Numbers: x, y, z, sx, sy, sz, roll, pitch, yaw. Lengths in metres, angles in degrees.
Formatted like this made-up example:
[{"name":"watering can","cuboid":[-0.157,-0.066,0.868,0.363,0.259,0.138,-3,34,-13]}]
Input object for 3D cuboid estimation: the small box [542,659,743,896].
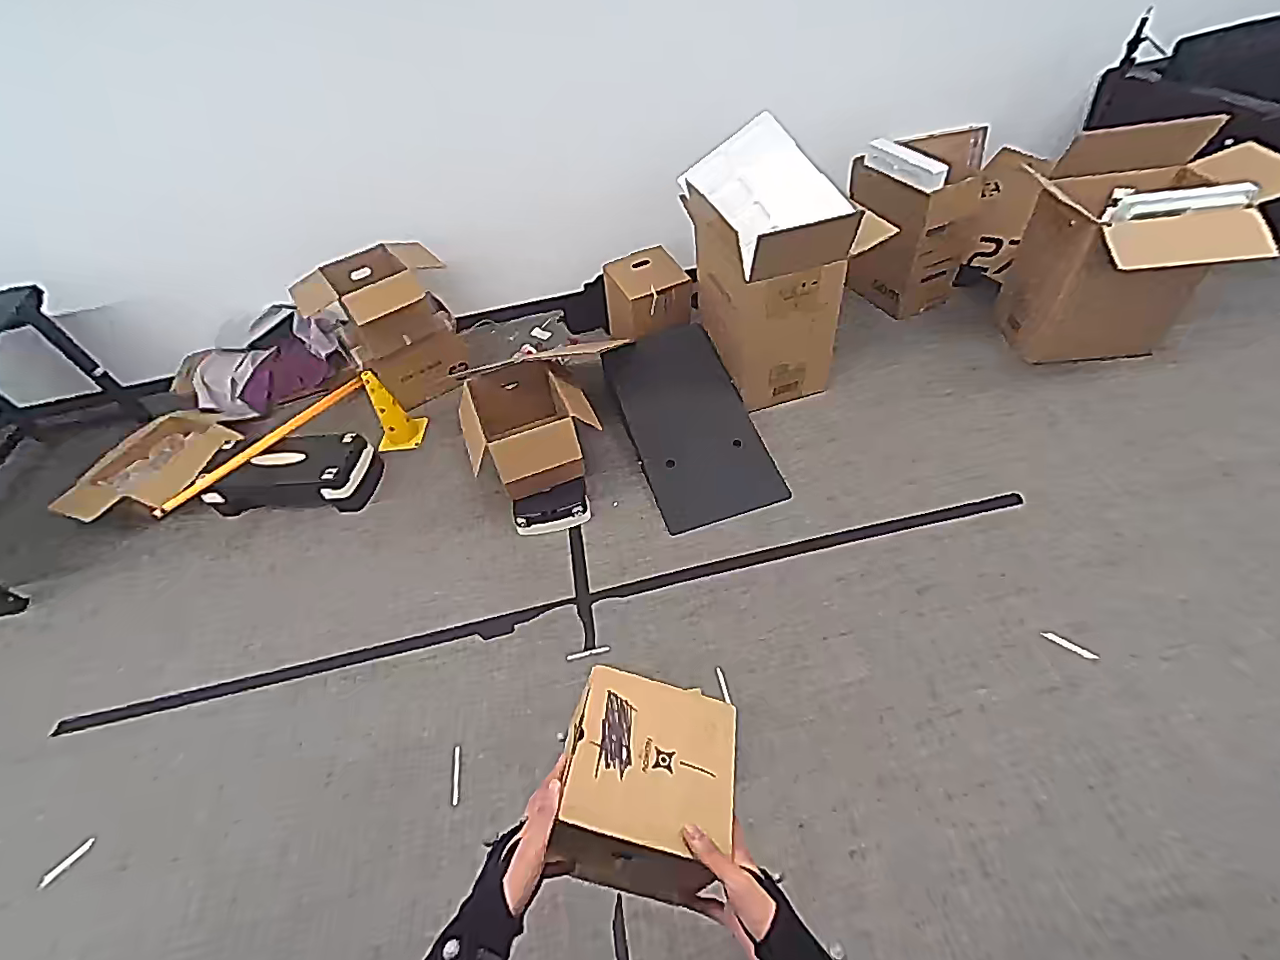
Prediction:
[{"name":"small box","cuboid":[0.001,0.337,0.609,0.179,0.176,0.168,19,41,-3]}]
